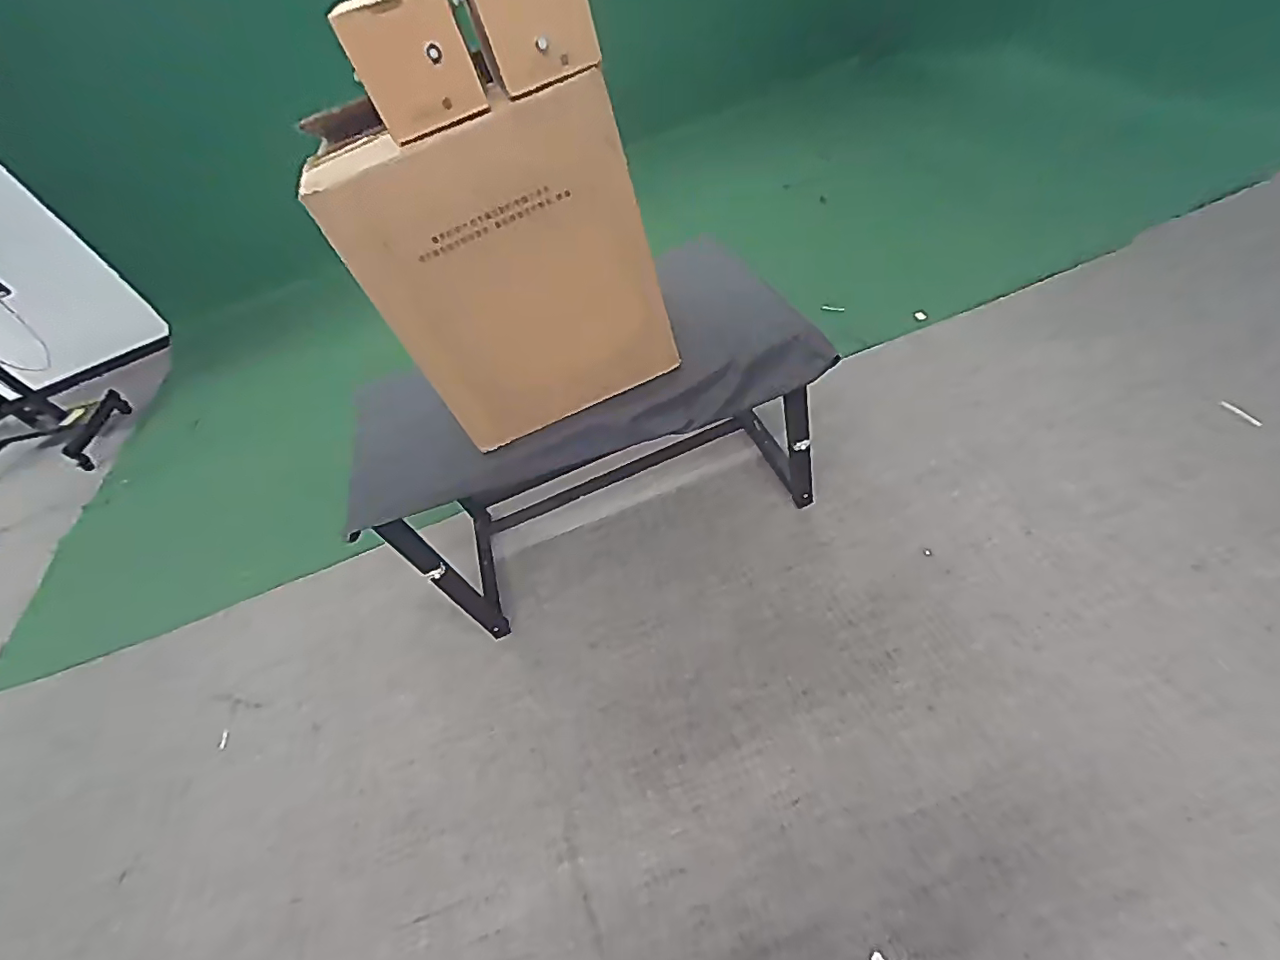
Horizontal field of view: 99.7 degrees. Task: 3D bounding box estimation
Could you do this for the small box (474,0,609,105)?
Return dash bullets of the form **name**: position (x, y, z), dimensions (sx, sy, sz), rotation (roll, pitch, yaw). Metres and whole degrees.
- **small box**: position (-0.166, -0.742, 0.880), dimensions (0.168, 0.176, 0.179), rotation (-24, 48, -2)
